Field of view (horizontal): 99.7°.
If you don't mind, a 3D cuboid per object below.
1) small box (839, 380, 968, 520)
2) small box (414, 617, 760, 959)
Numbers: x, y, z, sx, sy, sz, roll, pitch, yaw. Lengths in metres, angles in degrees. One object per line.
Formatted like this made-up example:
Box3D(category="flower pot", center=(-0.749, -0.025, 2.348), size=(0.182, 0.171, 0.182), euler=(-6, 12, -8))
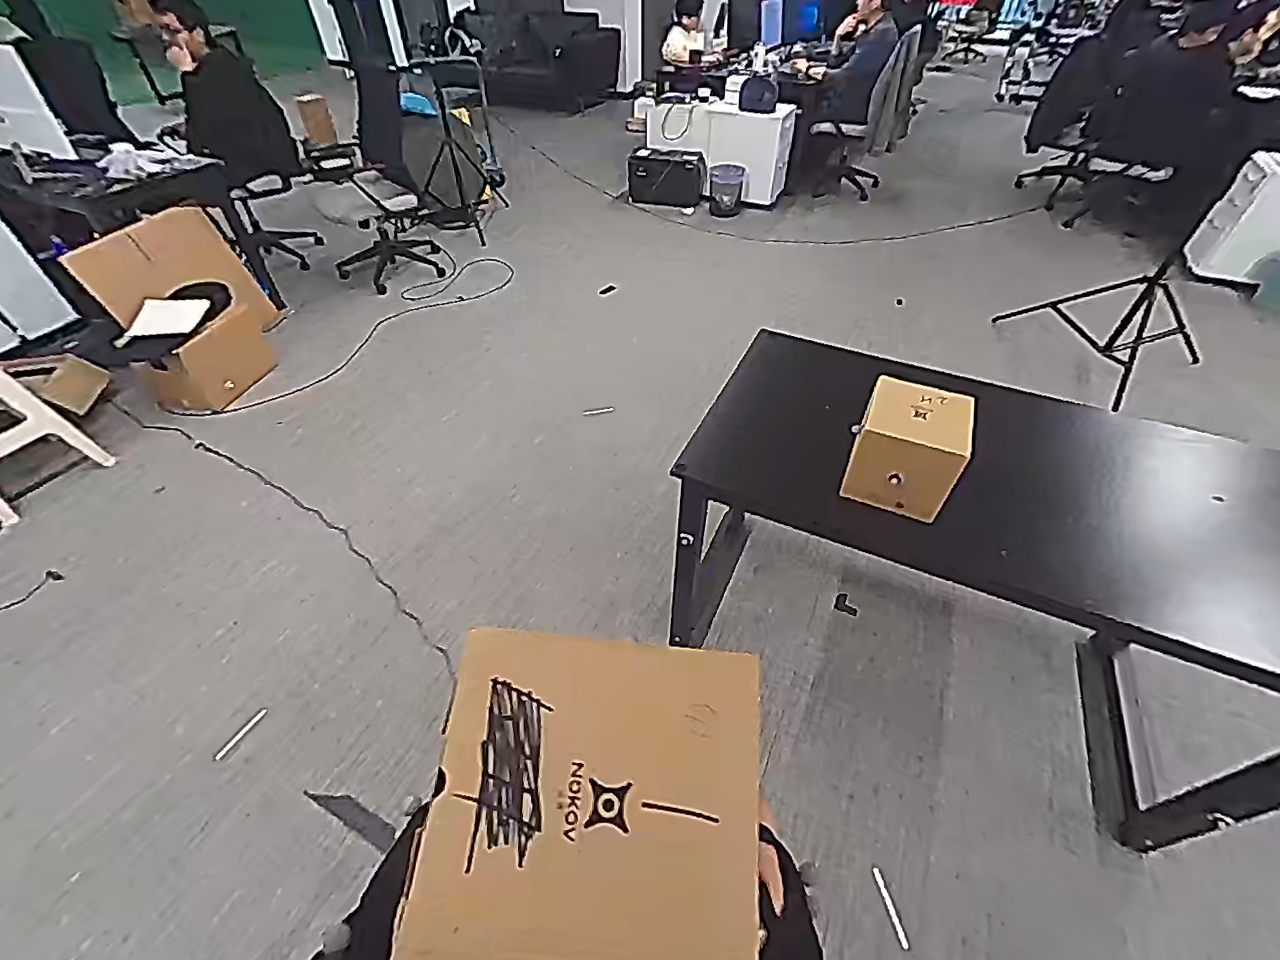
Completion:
Box3D(category="small box", center=(0.483, -0.054, 1.004), size=(0.168, 0.176, 0.179), euler=(19, 48, 17))
Box3D(category="small box", center=(-0.021, 0.200, 0.372), size=(0.179, 0.176, 0.168), euler=(4, 64, 2))
